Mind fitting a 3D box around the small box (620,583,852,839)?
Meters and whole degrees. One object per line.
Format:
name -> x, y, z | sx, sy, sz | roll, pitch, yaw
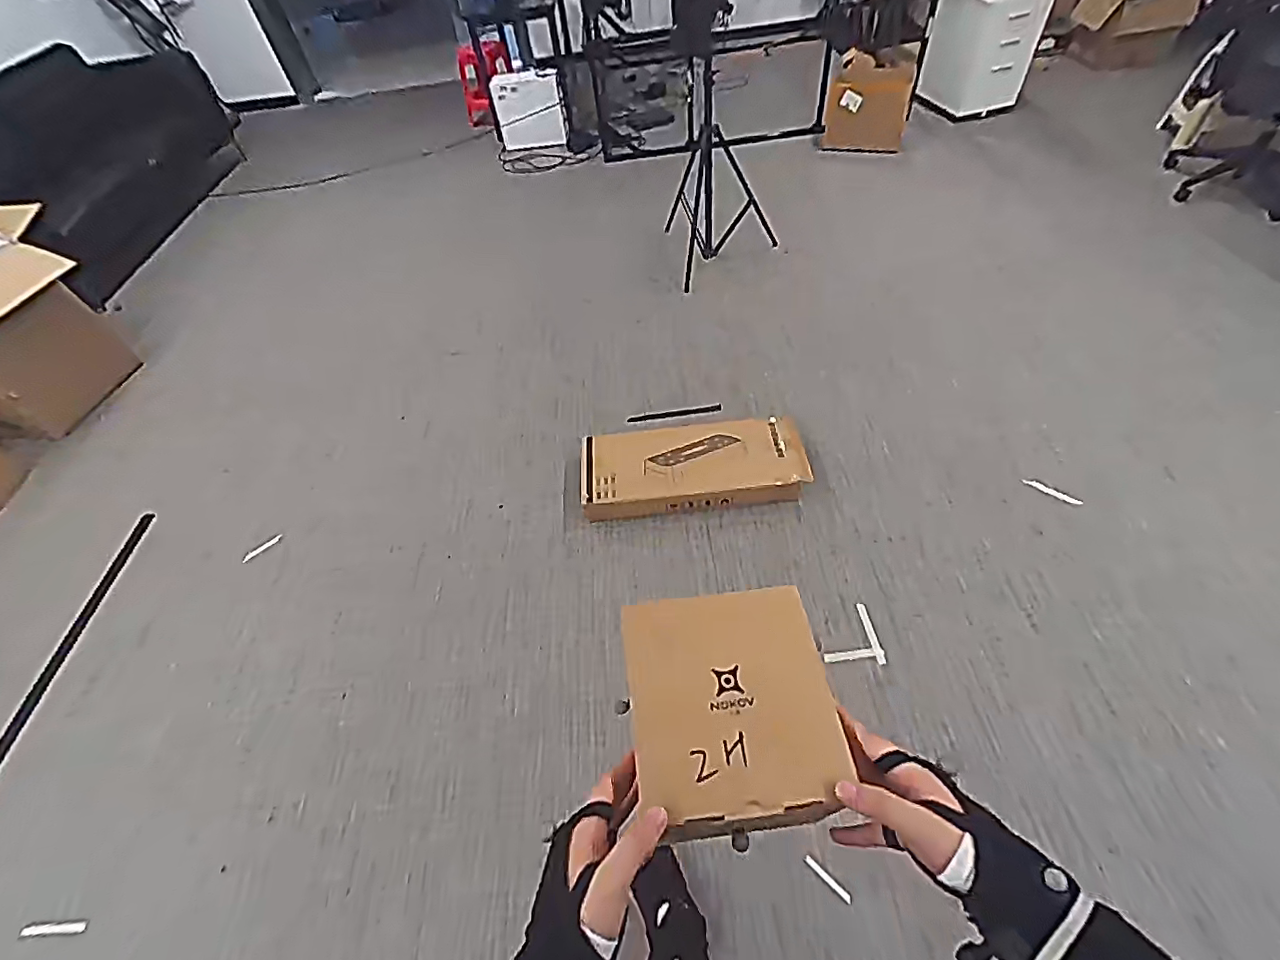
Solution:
small box -> 0.072, 0.221, 0.513 | 0.168, 0.176, 0.179 | -7, 52, -1
